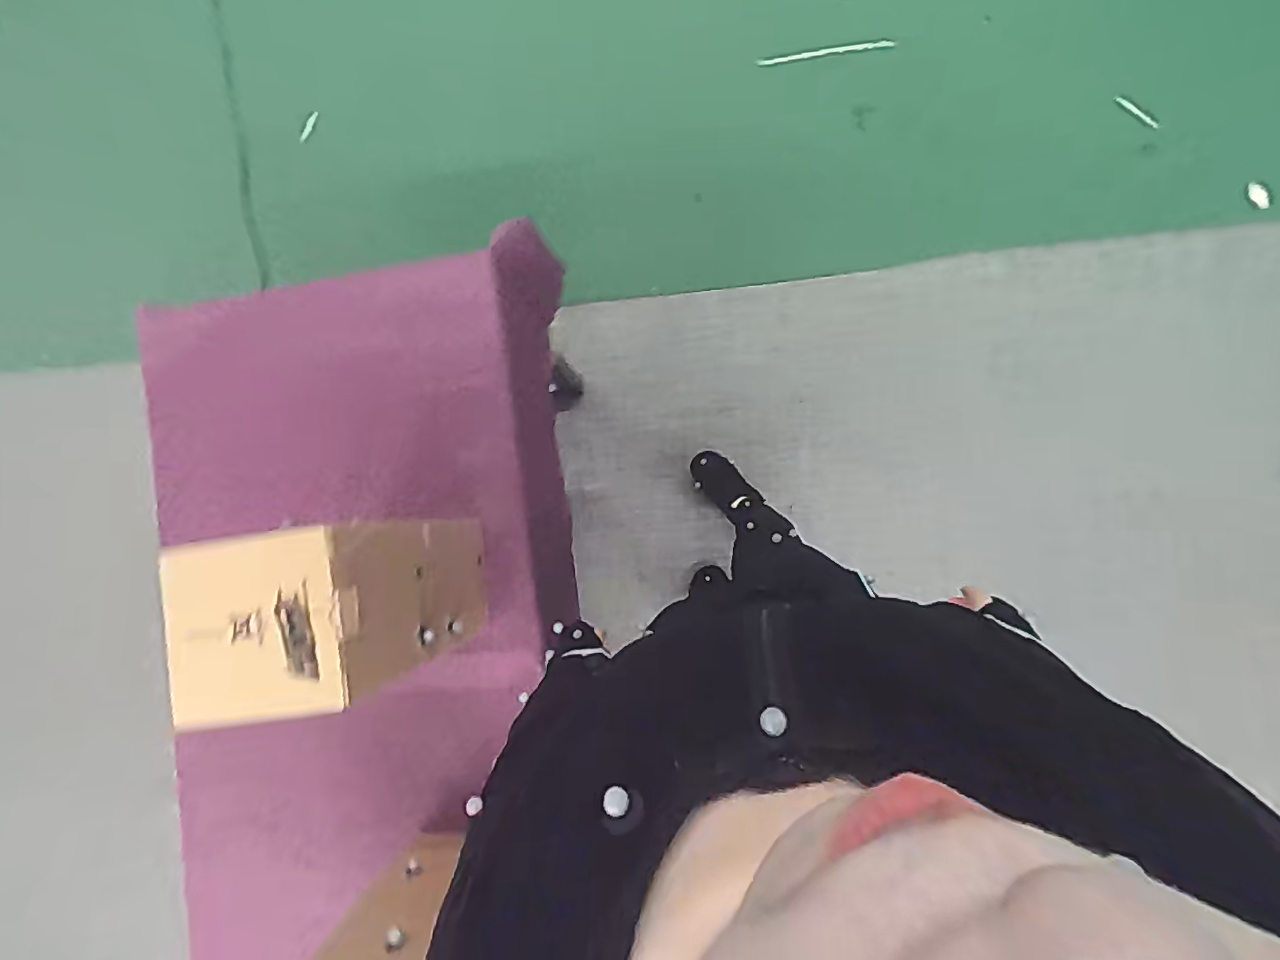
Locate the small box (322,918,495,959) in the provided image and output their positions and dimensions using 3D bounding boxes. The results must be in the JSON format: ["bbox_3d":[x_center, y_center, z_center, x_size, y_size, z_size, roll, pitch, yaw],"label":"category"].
[{"bbox_3d":[-0.258,0.581,0.538,0.179,0.176,0.168,-4,87,7],"label":"small box"}]

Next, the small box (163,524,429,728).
[{"bbox_3d":[-0.344,0.140,0.576,0.179,0.176,0.168,-10,85,7],"label":"small box"}]
